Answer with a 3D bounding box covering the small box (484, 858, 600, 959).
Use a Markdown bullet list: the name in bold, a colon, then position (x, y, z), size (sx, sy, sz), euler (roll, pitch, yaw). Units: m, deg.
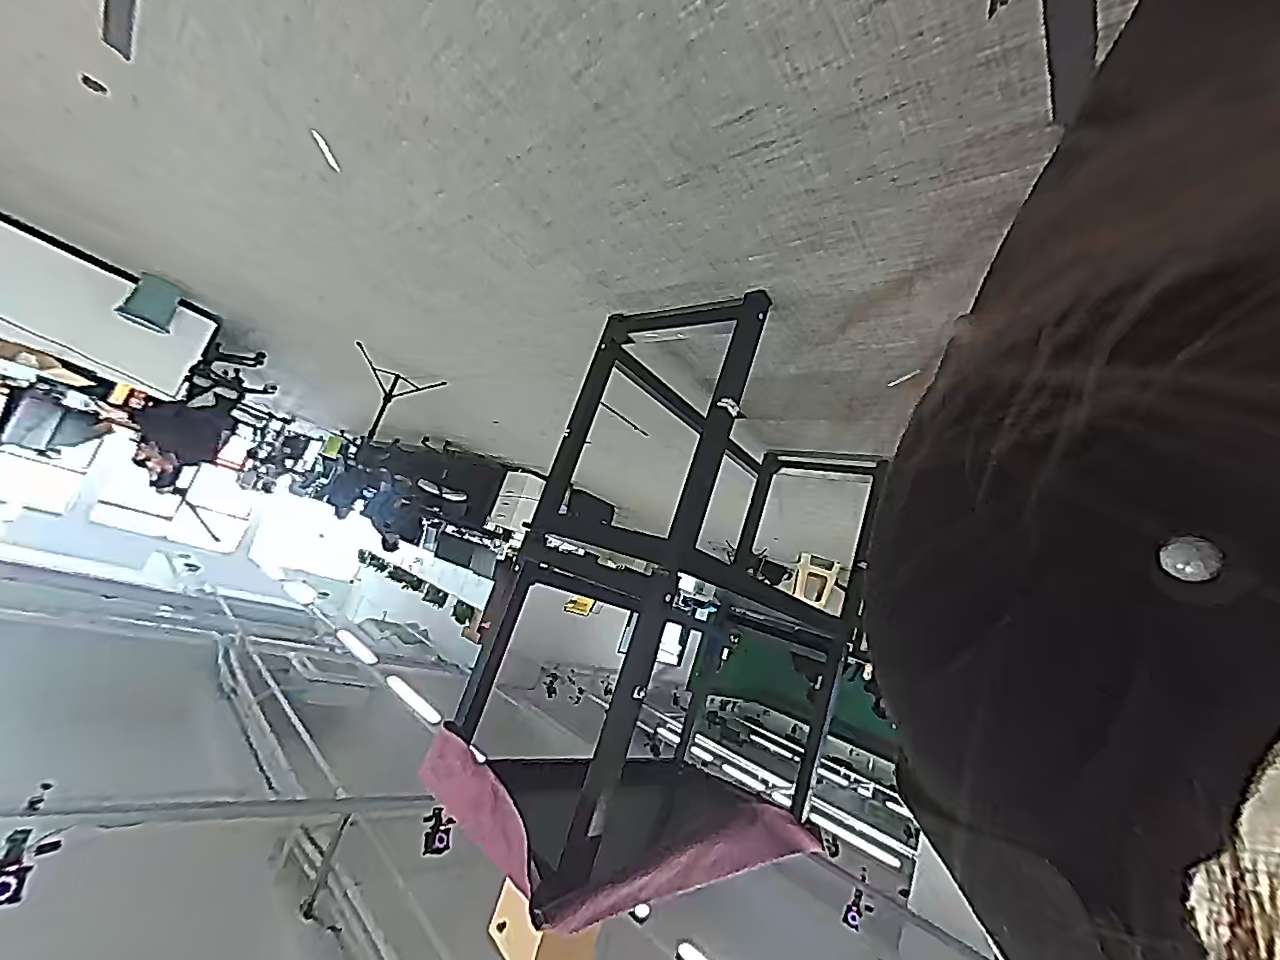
- **small box**: position (-0.214, 0.983, 1.208), size (0.168, 0.176, 0.179), euler (27, 167, -38)
